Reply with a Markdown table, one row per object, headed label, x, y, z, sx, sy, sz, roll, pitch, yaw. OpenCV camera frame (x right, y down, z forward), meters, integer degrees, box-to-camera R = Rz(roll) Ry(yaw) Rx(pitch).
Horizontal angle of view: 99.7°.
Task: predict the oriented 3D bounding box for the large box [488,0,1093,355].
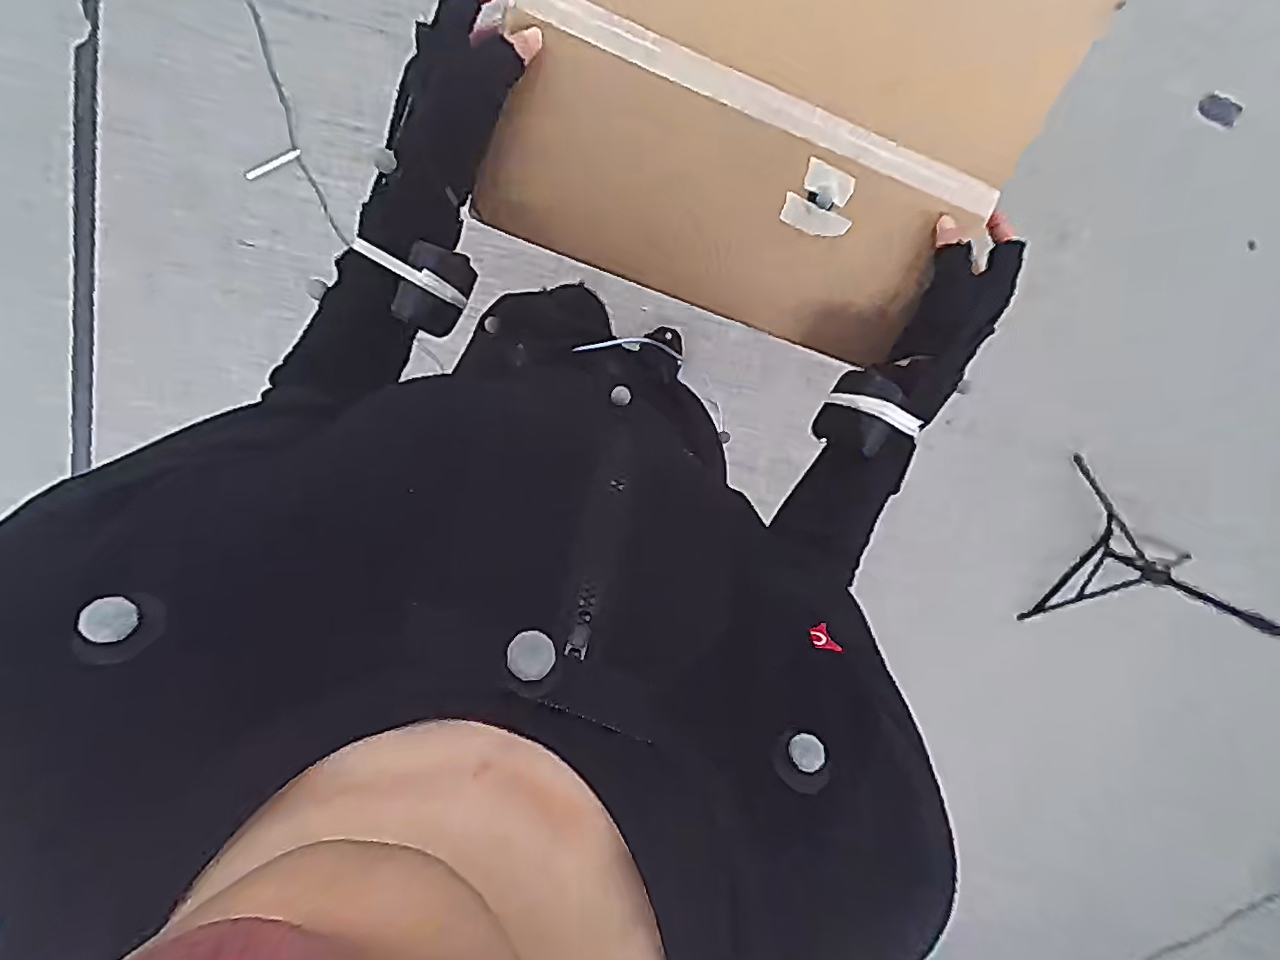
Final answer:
| label | x | y | z | sx | sy | sz | roll | pitch | yaw |
| --- | --- | --- | --- | --- | --- | --- | --- | --- | --- |
| large box | 0.100 | -0.373 | 0.553 | 0.408 | 0.320 | 0.320 | 17 | 120 | -10 |
